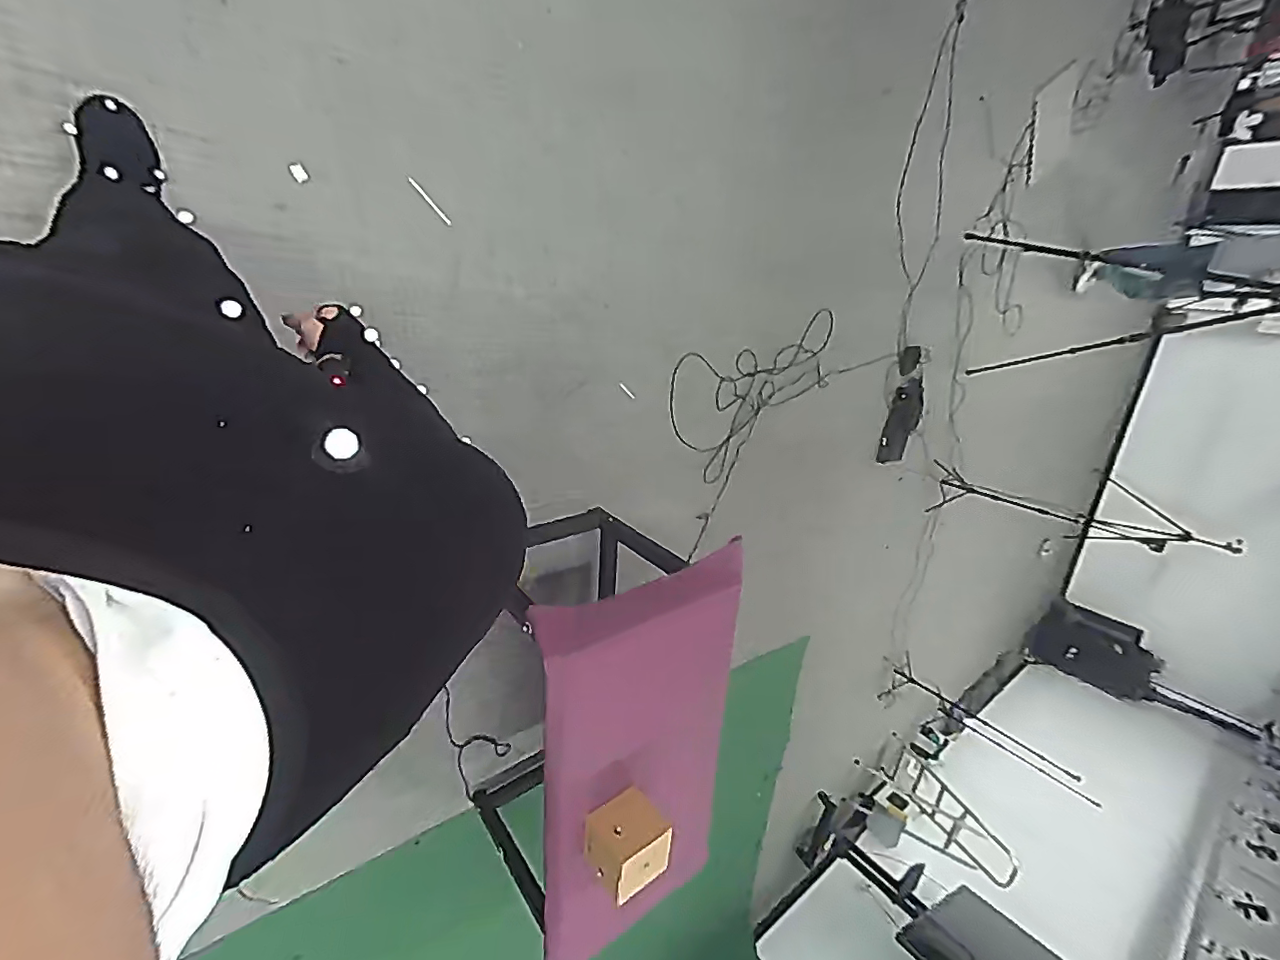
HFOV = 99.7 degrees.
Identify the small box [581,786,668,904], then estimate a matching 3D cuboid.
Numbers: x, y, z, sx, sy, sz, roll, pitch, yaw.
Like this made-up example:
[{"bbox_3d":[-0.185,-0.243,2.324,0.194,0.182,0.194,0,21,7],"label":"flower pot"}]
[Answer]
[{"bbox_3d":[-0.047,1.003,1.501,0.179,0.176,0.168,-10,115,-39],"label":"small box"}]
